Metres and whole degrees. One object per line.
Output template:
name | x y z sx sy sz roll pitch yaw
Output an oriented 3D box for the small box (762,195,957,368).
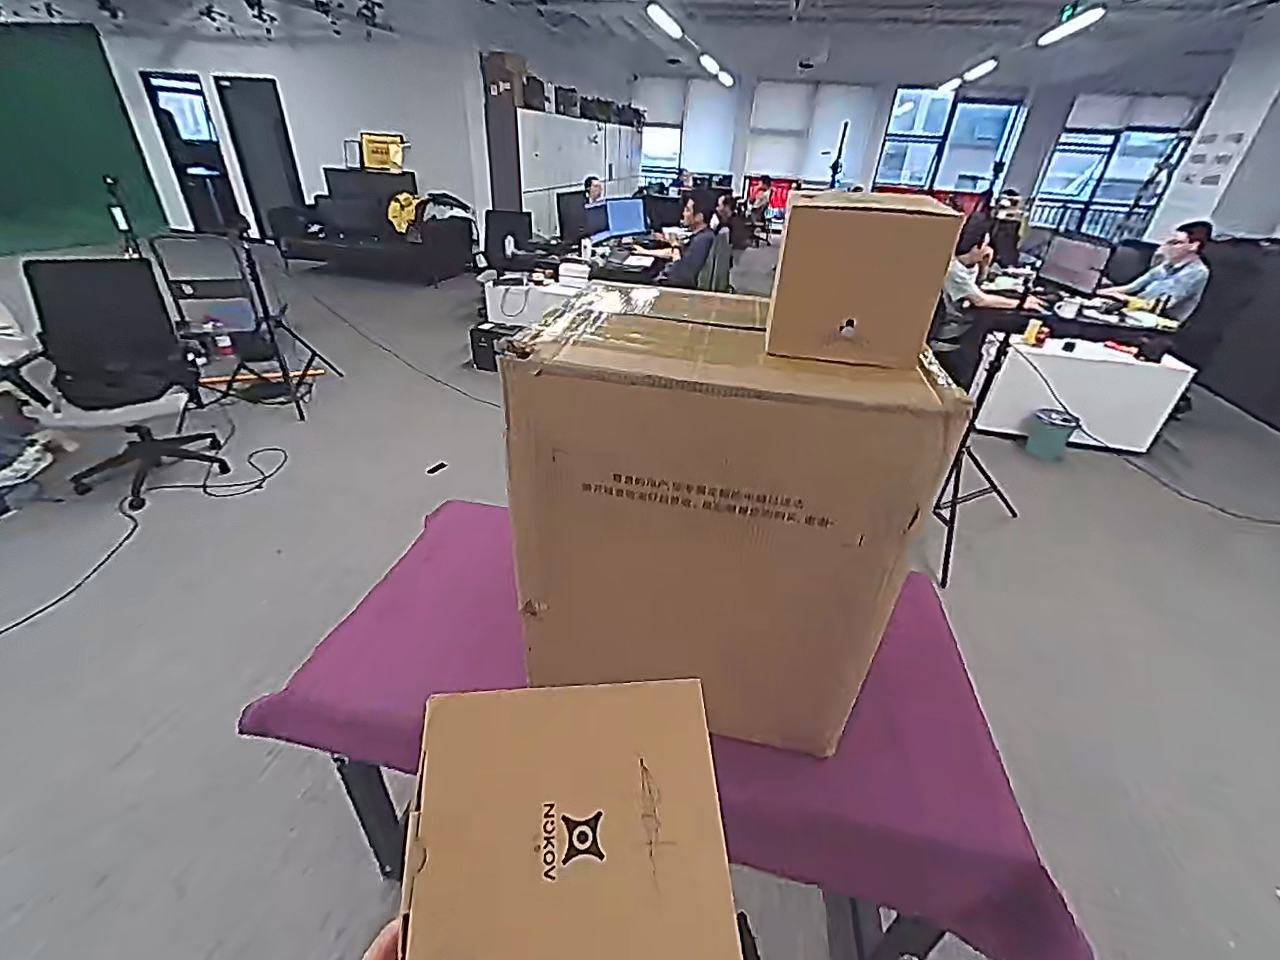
small box | 0.257 -0.250 0.677 0.179 0.176 0.168 8 32 9
